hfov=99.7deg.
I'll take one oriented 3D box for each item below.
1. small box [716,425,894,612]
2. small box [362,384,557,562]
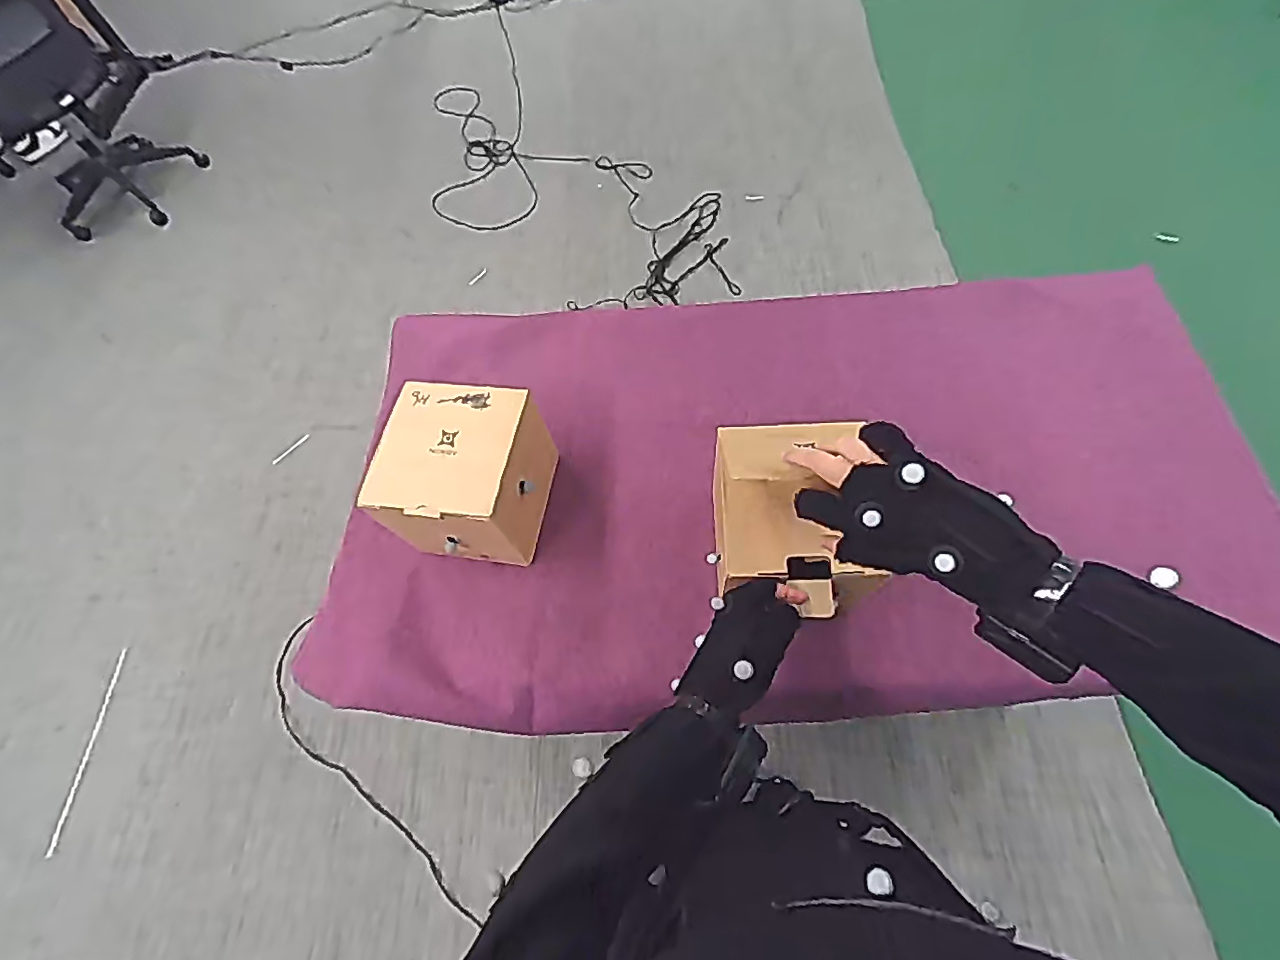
[{"bbox_3d":[0.177,0.054,0.638,0.168,0.176,0.179,-2,63,5],"label":"small box"},{"bbox_3d":[-0.218,-0.002,0.709,0.168,0.176,0.179,6,65,9],"label":"small box"}]
